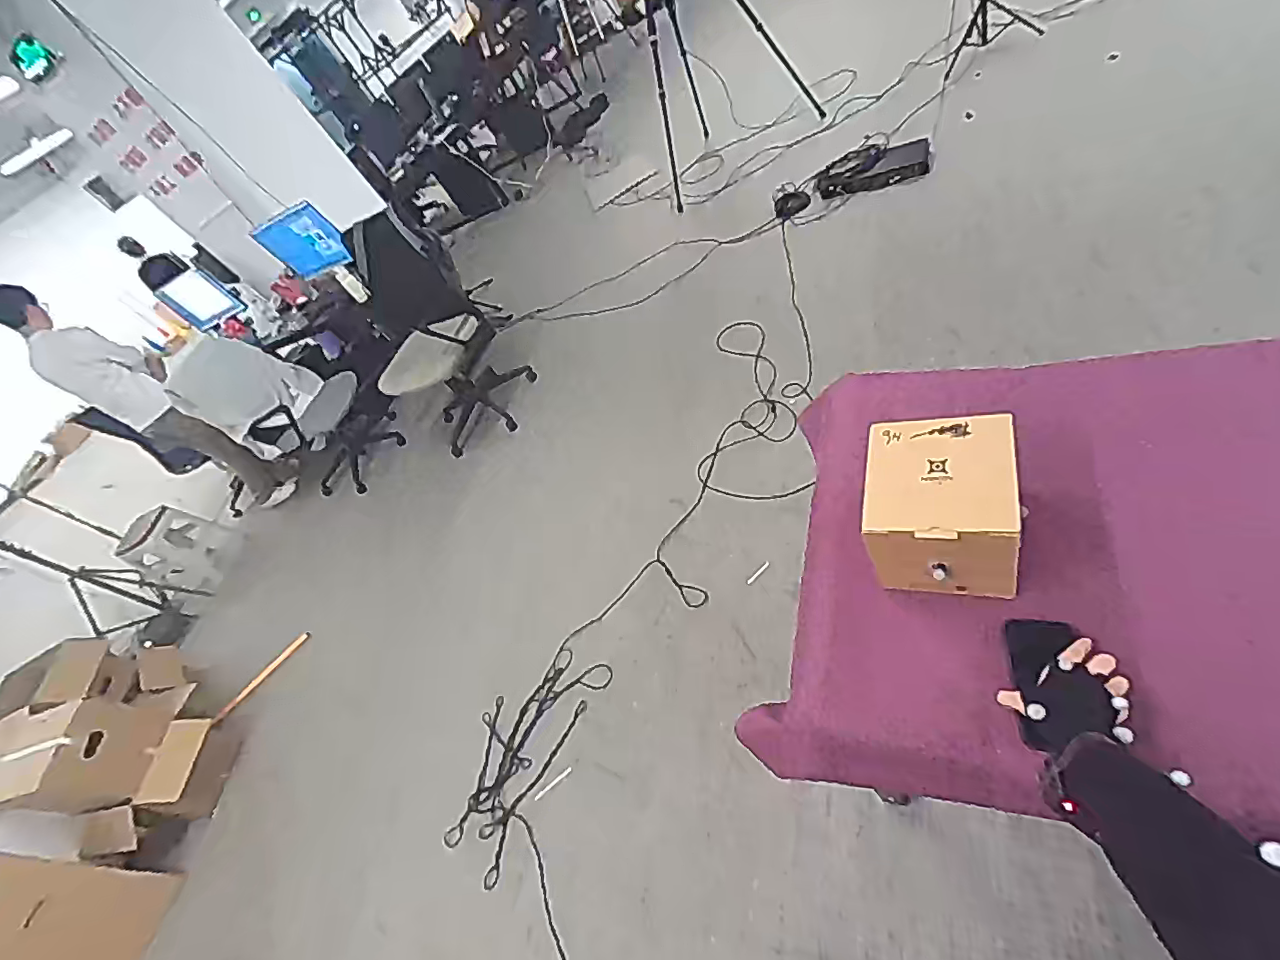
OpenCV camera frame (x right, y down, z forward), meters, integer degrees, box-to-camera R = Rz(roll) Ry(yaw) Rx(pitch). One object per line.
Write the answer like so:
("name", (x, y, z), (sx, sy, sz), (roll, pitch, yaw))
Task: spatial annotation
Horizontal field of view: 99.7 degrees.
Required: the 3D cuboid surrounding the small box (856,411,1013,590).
("small box", (0.399, 0.033, 0.726), (0.168, 0.176, 0.179), (-2, 55, 32))
